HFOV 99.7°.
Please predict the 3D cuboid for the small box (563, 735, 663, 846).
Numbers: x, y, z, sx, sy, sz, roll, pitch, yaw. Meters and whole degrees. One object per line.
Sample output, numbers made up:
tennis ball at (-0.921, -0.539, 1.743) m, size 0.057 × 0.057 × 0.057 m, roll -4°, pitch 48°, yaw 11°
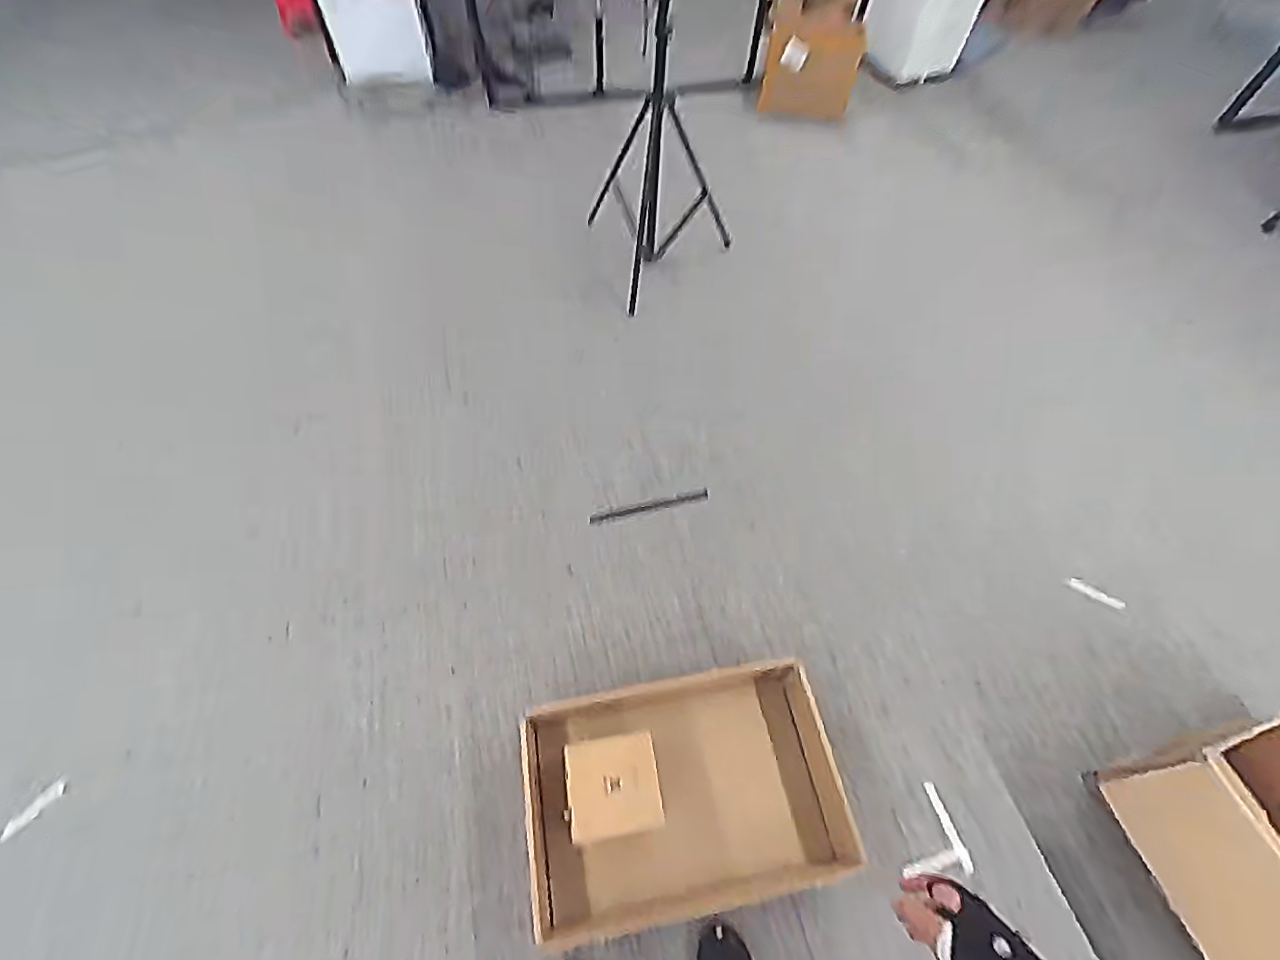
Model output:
small box at (-0.058, 0.636, 1.112) m, size 0.179 × 0.176 × 0.168 m, roll -7°, pitch 61°, yaw -8°
